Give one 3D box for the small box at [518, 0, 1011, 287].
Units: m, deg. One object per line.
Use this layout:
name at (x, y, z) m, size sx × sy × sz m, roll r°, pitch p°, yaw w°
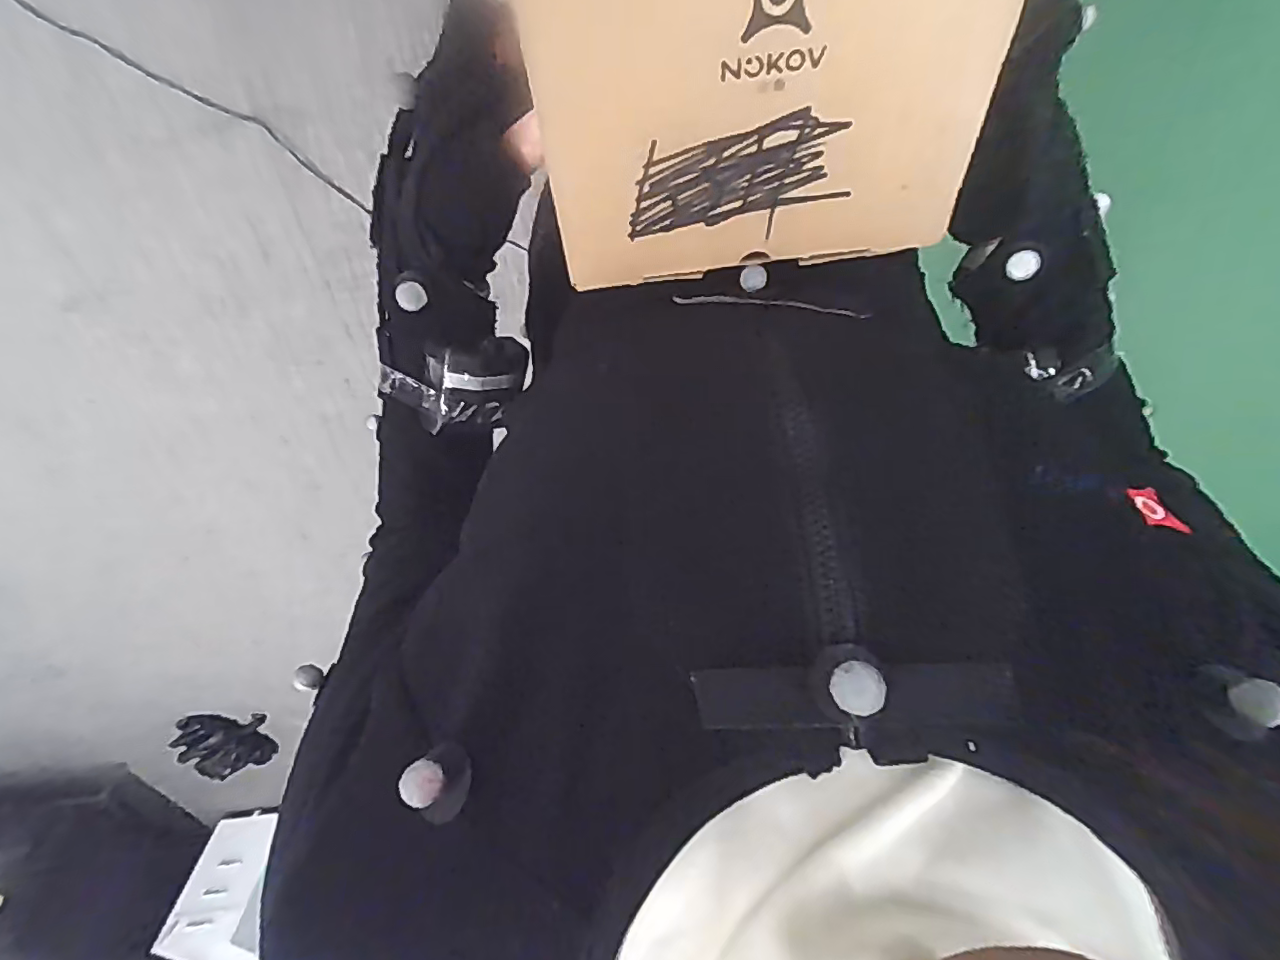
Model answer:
small box at (0.038, -0.214, 0.236) m, size 0.168 × 0.176 × 0.179 m, roll -6°, pitch 141°, yaw 1°
